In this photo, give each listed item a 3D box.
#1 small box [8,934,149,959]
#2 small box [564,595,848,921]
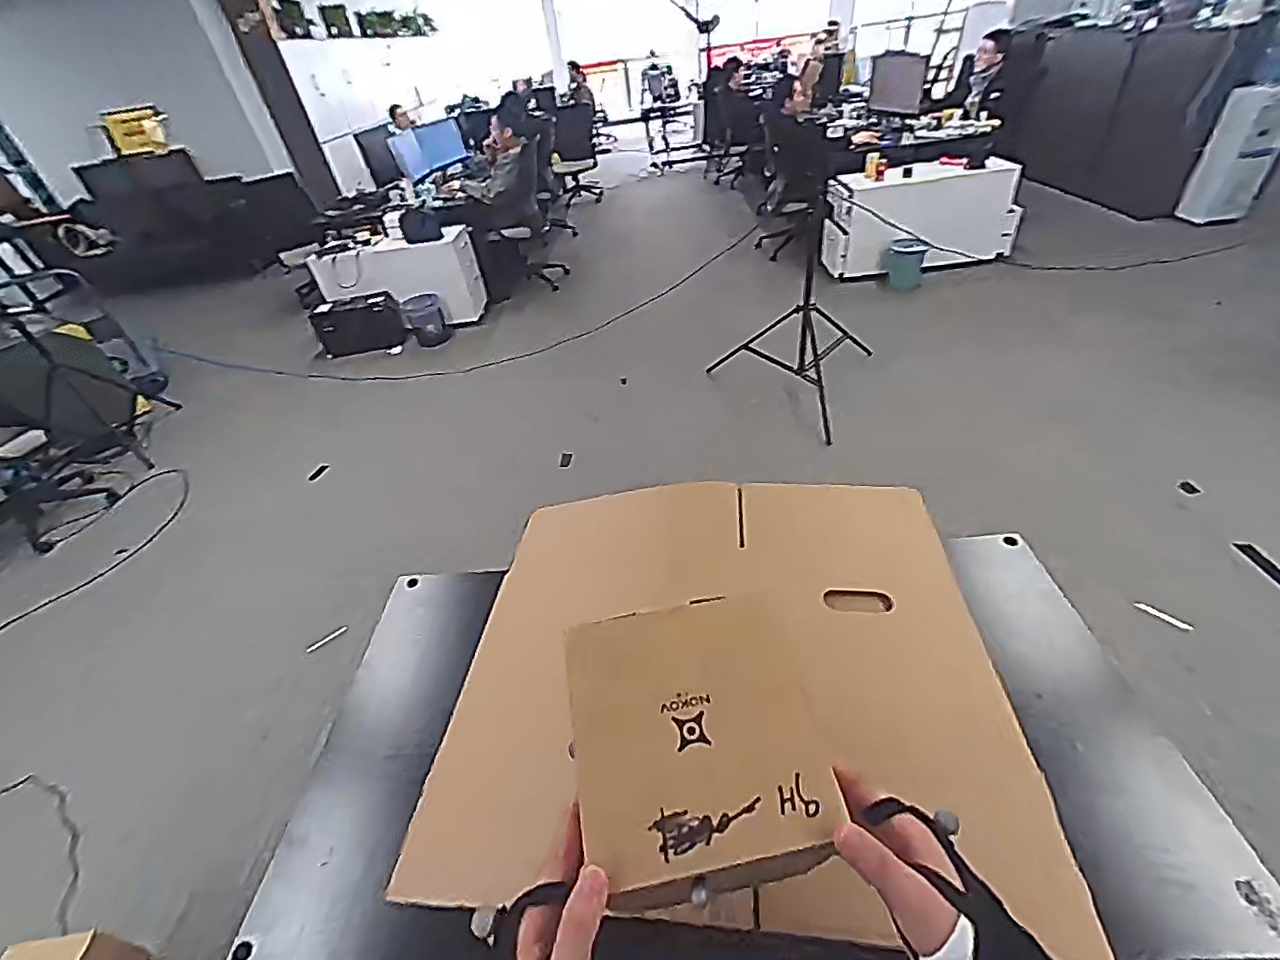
[{"bbox_3d":[-1.104,1.004,1.026,0.168,0.176,0.179,-9,37,-1],"label":"small box"},{"bbox_3d":[0.038,0.223,0.437,0.168,0.176,0.179,-11,47,-4],"label":"small box"}]
